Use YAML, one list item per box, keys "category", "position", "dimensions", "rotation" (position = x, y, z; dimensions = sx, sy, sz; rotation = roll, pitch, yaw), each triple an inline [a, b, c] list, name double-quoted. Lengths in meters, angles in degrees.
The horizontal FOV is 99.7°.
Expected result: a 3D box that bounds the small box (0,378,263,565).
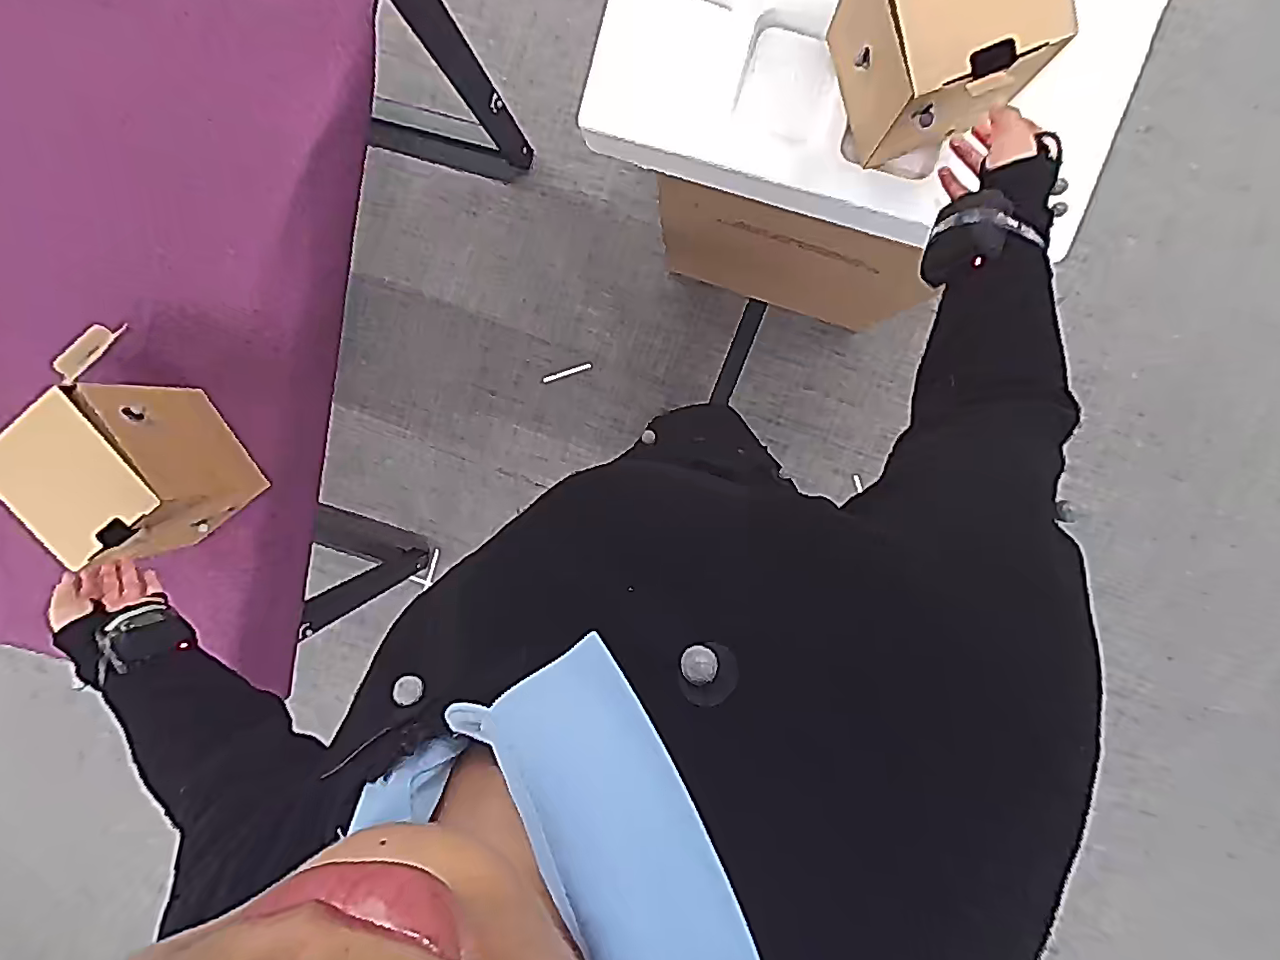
- category: "small box"
  position: [-0.673, -0.015, 0.730]
  dimensions: [0.168, 0.176, 0.179]
  rotation: [-34, 92, 9]
